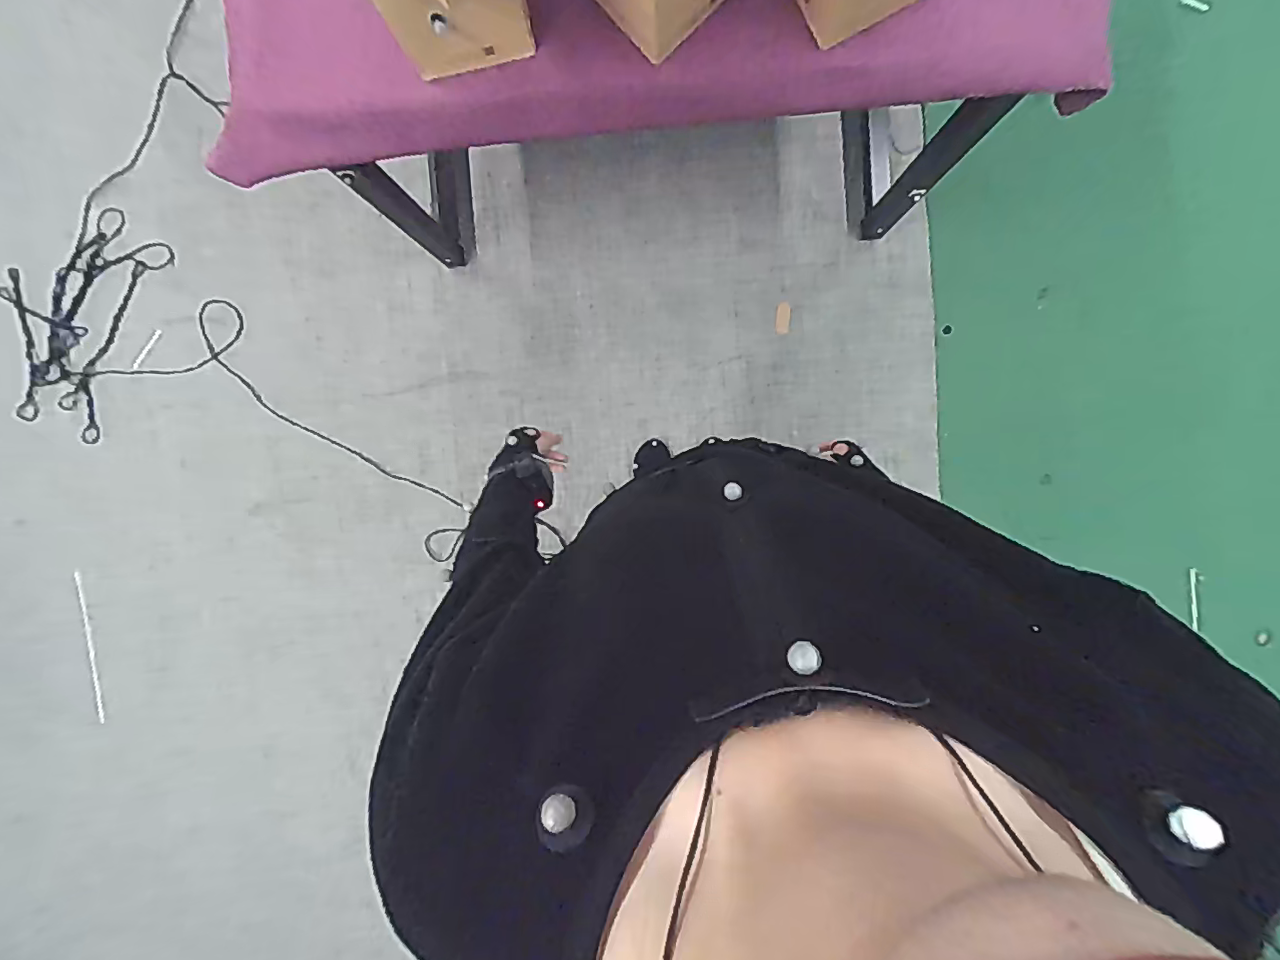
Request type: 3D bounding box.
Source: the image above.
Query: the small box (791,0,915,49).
[{"bbox_3d":[0.279,-0.687,0.650,0.179,0.176,0.168,-26,90,4],"label":"small box"}]

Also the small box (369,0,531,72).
[{"bbox_3d":[-0.246,-0.654,0.675,0.168,0.176,0.179,-11,91,3],"label":"small box"}]

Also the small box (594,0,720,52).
[{"bbox_3d":[0.017,-0.681,0.659,0.168,0.176,0.179,-41,90,3],"label":"small box"}]
